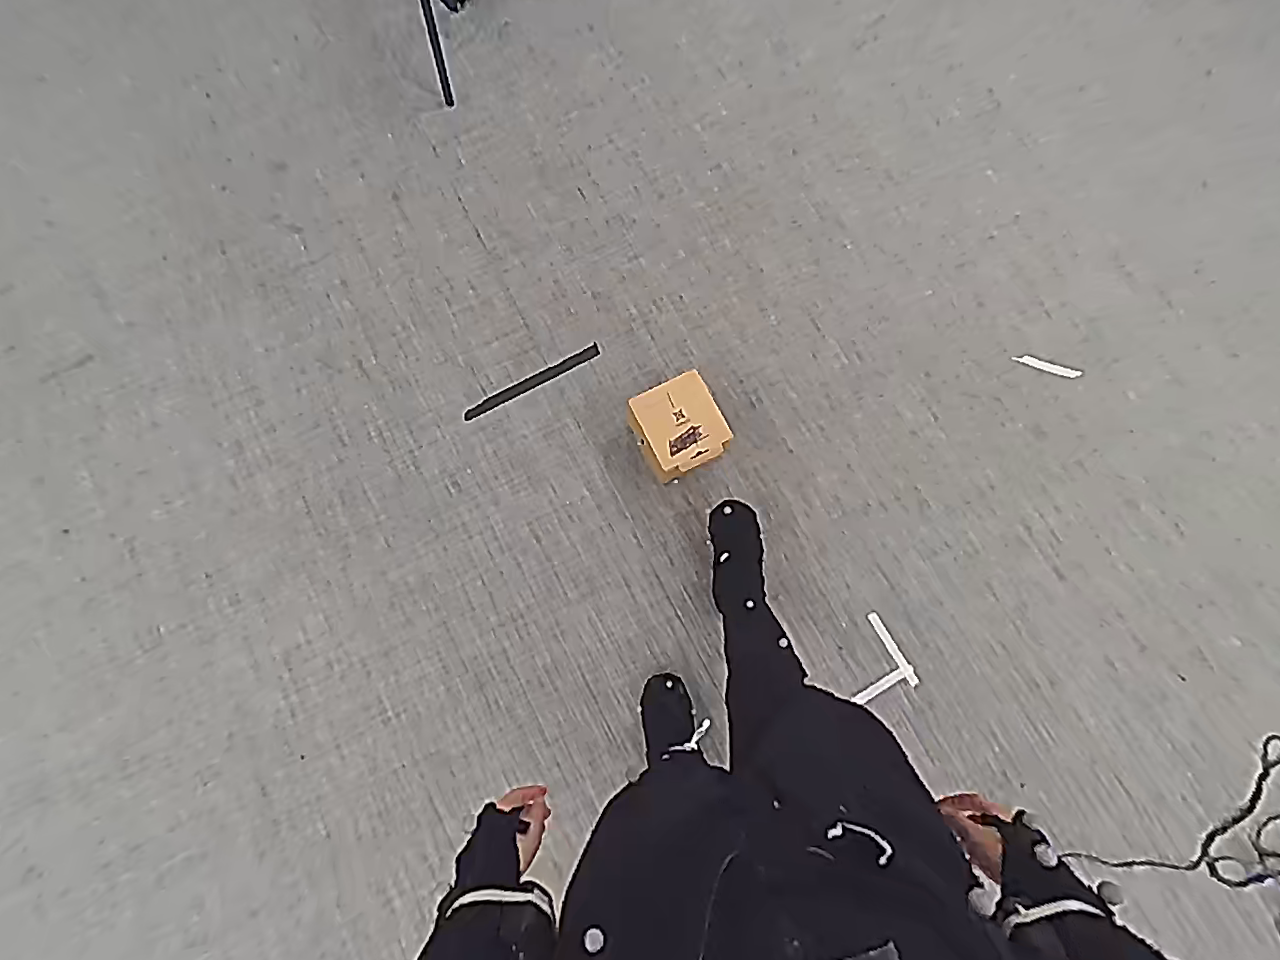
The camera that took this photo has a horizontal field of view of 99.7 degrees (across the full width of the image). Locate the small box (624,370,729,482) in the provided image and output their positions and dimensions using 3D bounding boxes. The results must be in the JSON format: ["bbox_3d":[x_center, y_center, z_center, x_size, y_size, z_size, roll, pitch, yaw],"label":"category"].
[{"bbox_3d":[0.076,-0.108,1.196,0.168,0.176,0.179,-26,80,-6],"label":"small box"}]
